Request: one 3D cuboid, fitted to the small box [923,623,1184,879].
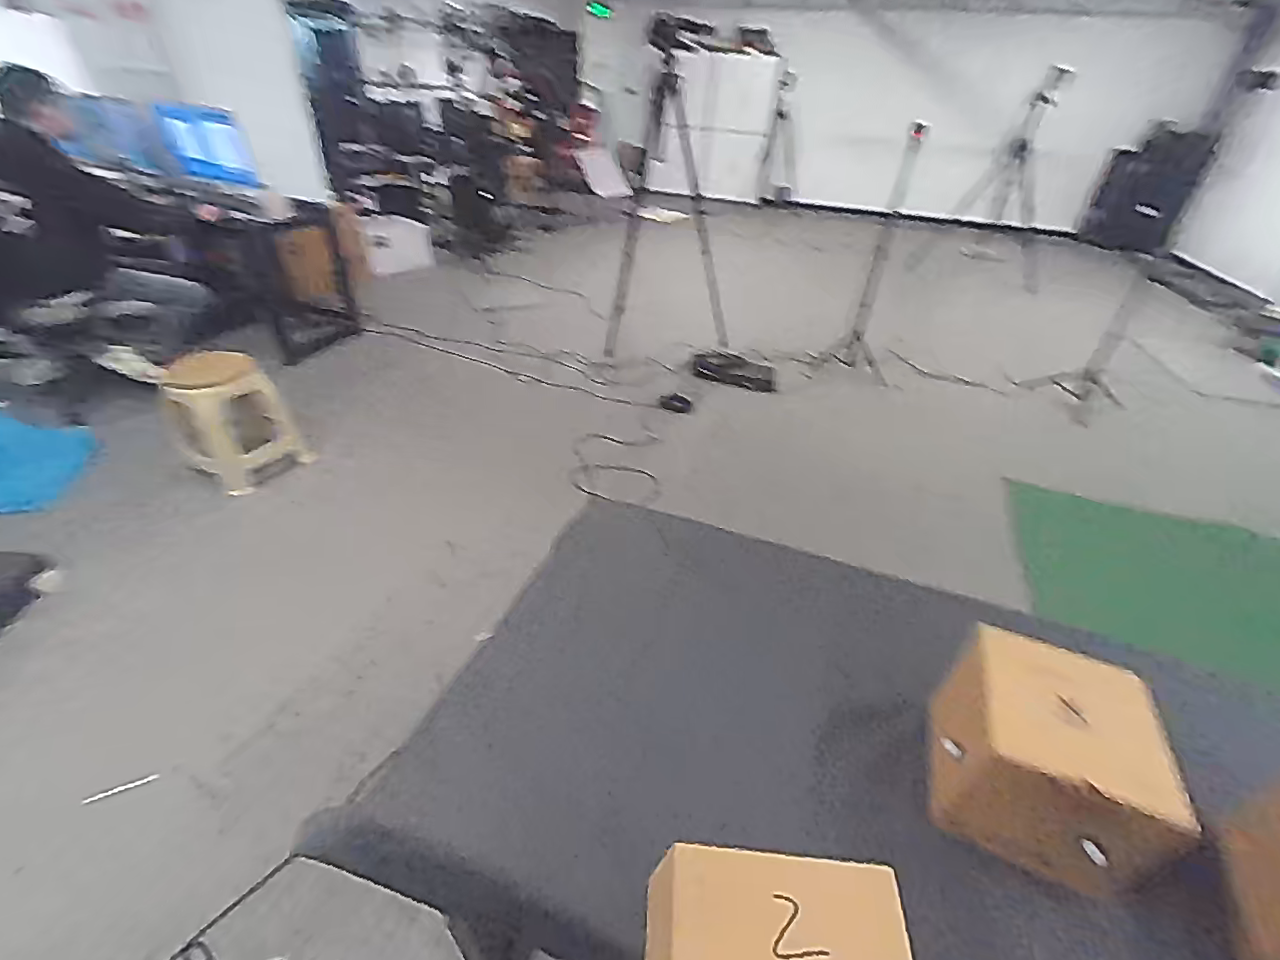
[{"bbox_3d":[0.439,0.304,0.614,0.168,0.176,0.179,17,37,15],"label":"small box"}]
